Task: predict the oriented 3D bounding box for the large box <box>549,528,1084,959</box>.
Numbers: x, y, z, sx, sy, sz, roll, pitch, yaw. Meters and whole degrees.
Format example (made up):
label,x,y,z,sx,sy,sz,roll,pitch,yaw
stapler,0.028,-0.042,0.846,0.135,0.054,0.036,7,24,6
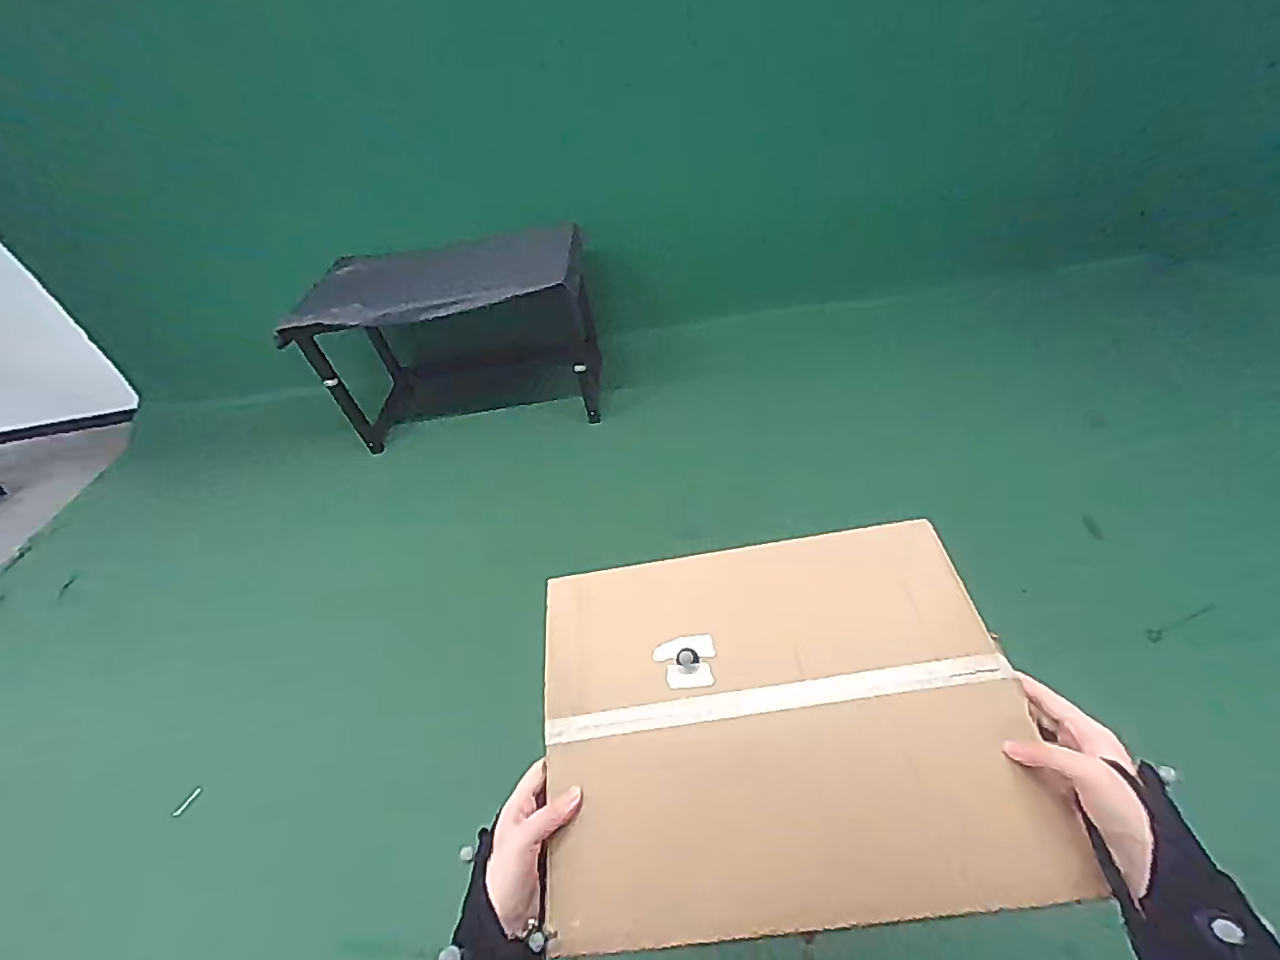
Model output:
label,x,y,z,sx,sy,sz,roll,pitch,yaw
large box,0.139,0.294,0.607,0.408,0.320,0.320,-11,52,5
